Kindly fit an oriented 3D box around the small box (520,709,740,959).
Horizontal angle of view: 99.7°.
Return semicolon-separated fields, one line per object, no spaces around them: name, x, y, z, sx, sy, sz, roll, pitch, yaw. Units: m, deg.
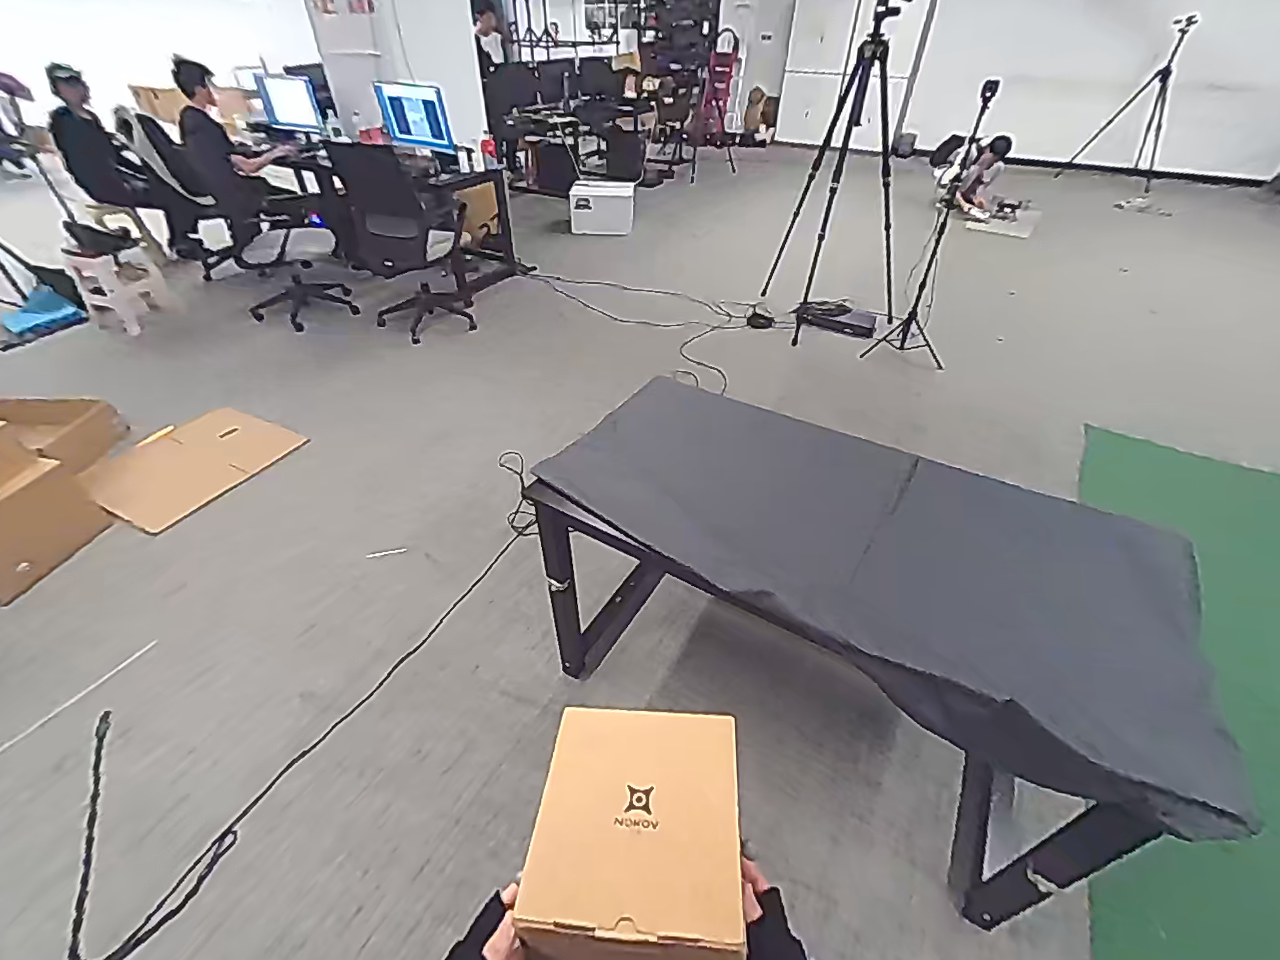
small box;0.003;0.345;0.502;0.168;0.176;0.179;1;34;7
